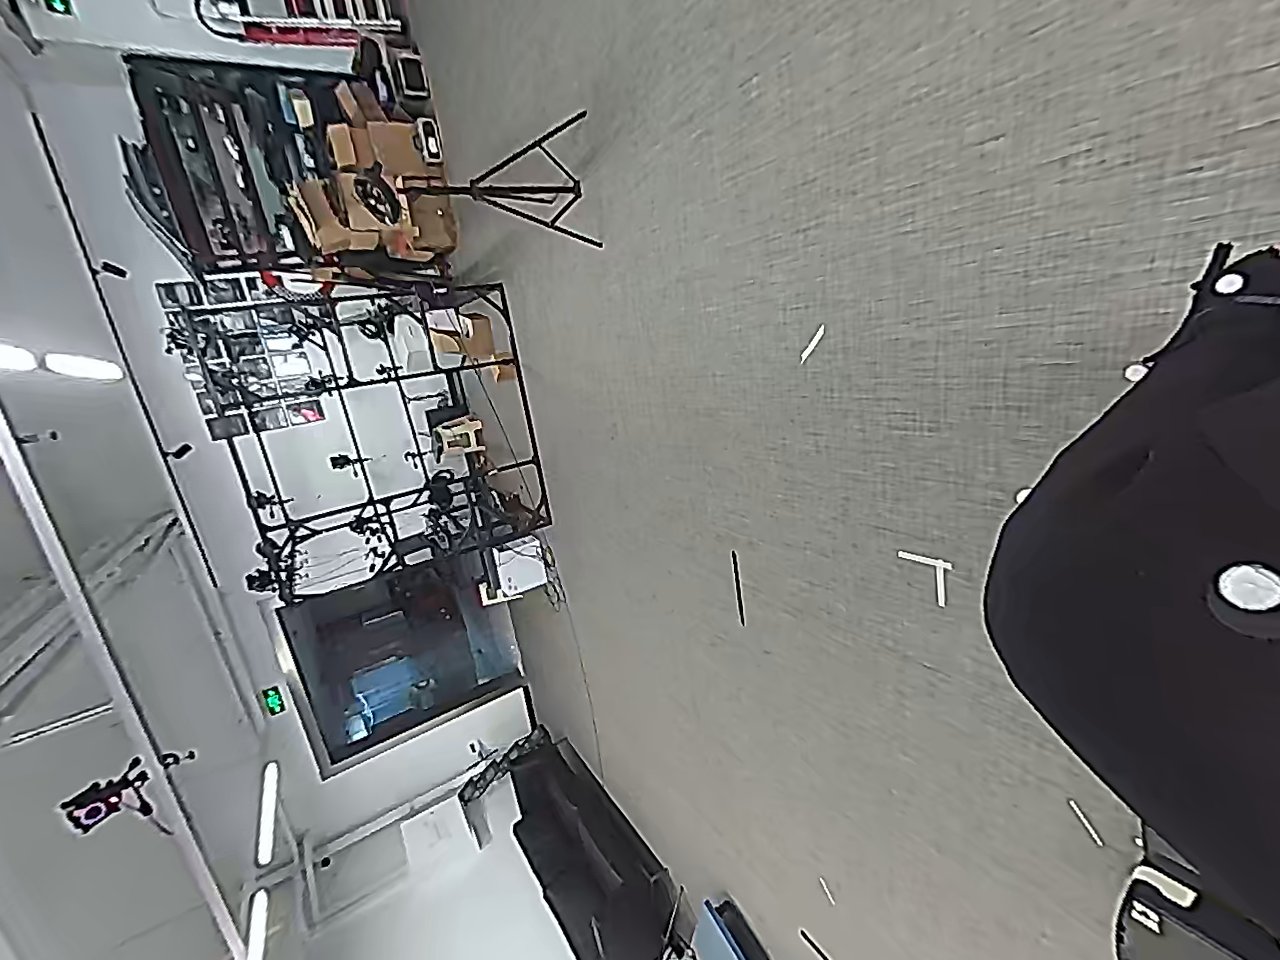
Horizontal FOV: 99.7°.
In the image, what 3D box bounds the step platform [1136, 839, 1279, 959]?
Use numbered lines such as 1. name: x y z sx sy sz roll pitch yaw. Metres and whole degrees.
1. step platform: 1.412 1.064 1.035 0.684 0.204 0.286 15 118 59
